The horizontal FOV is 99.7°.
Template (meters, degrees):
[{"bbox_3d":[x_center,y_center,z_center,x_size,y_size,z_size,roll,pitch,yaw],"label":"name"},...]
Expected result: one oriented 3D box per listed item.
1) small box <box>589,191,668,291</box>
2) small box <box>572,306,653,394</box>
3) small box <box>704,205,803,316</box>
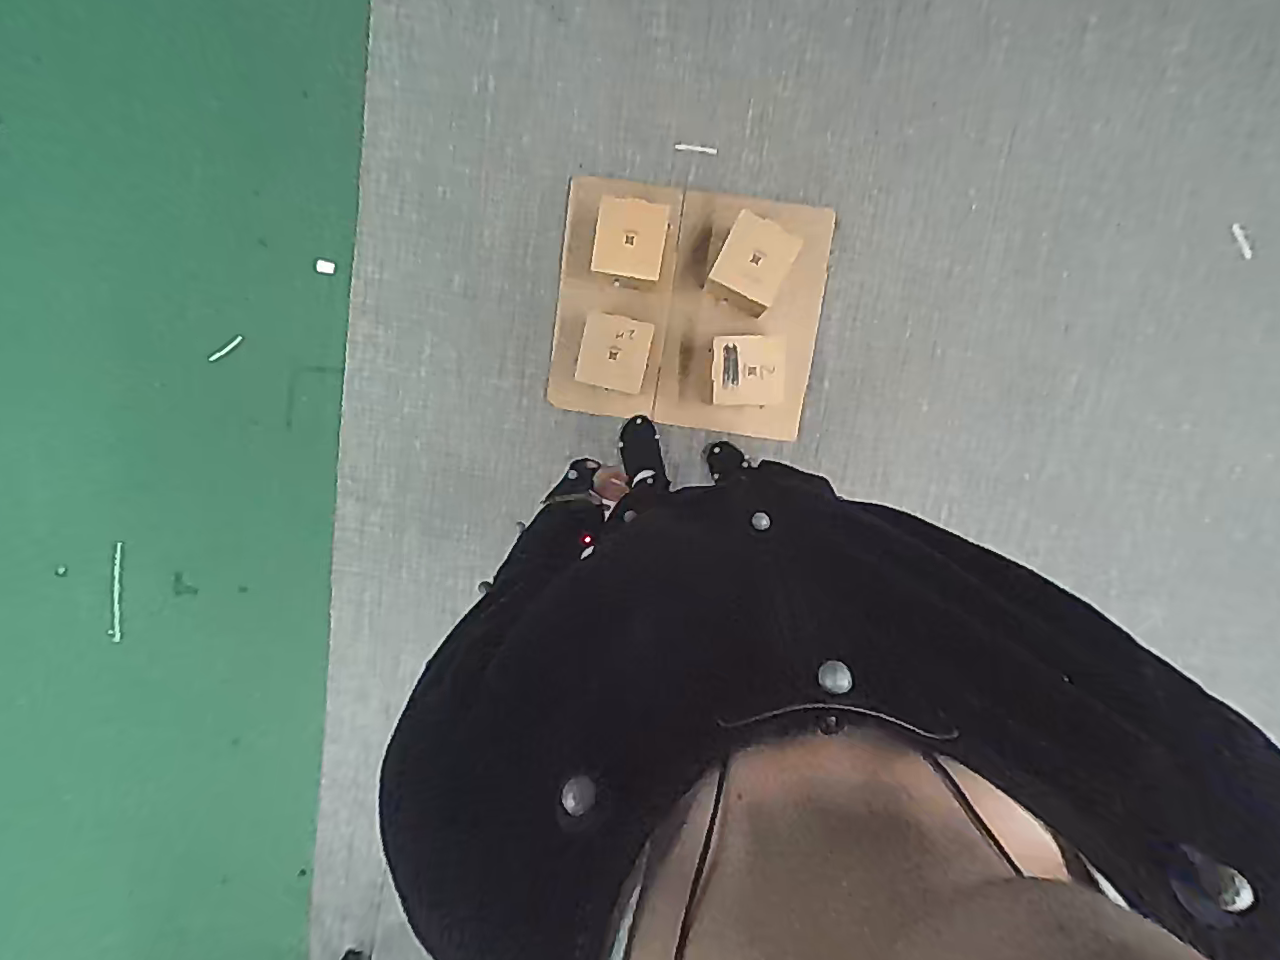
[{"bbox_3d":[-0.024,-0.581,1.338,0.168,0.176,0.179,10,97,0],"label":"small box"},{"bbox_3d":[-0.064,-0.320,1.371,0.168,0.176,0.179,14,97,-1],"label":"small box"},{"bbox_3d":[0.269,-0.530,1.332,0.168,0.176,0.179,27,97,-2],"label":"small box"}]
